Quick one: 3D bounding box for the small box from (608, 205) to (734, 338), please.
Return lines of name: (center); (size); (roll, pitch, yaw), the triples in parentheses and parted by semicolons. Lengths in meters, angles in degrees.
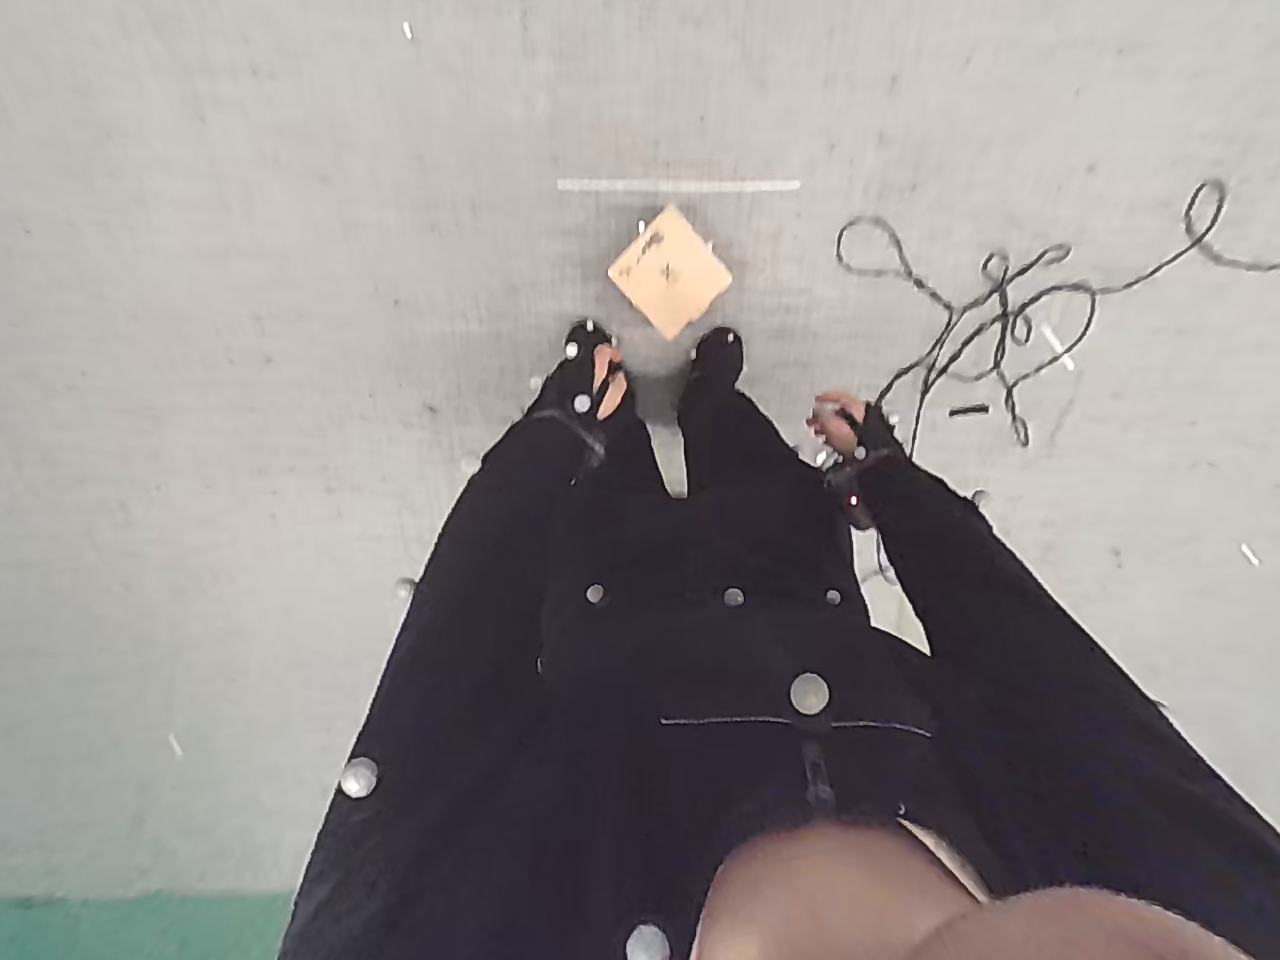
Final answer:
small box: (0.060, -0.413, 1.063); (0.168, 0.176, 0.179); (-40, 109, 18)
